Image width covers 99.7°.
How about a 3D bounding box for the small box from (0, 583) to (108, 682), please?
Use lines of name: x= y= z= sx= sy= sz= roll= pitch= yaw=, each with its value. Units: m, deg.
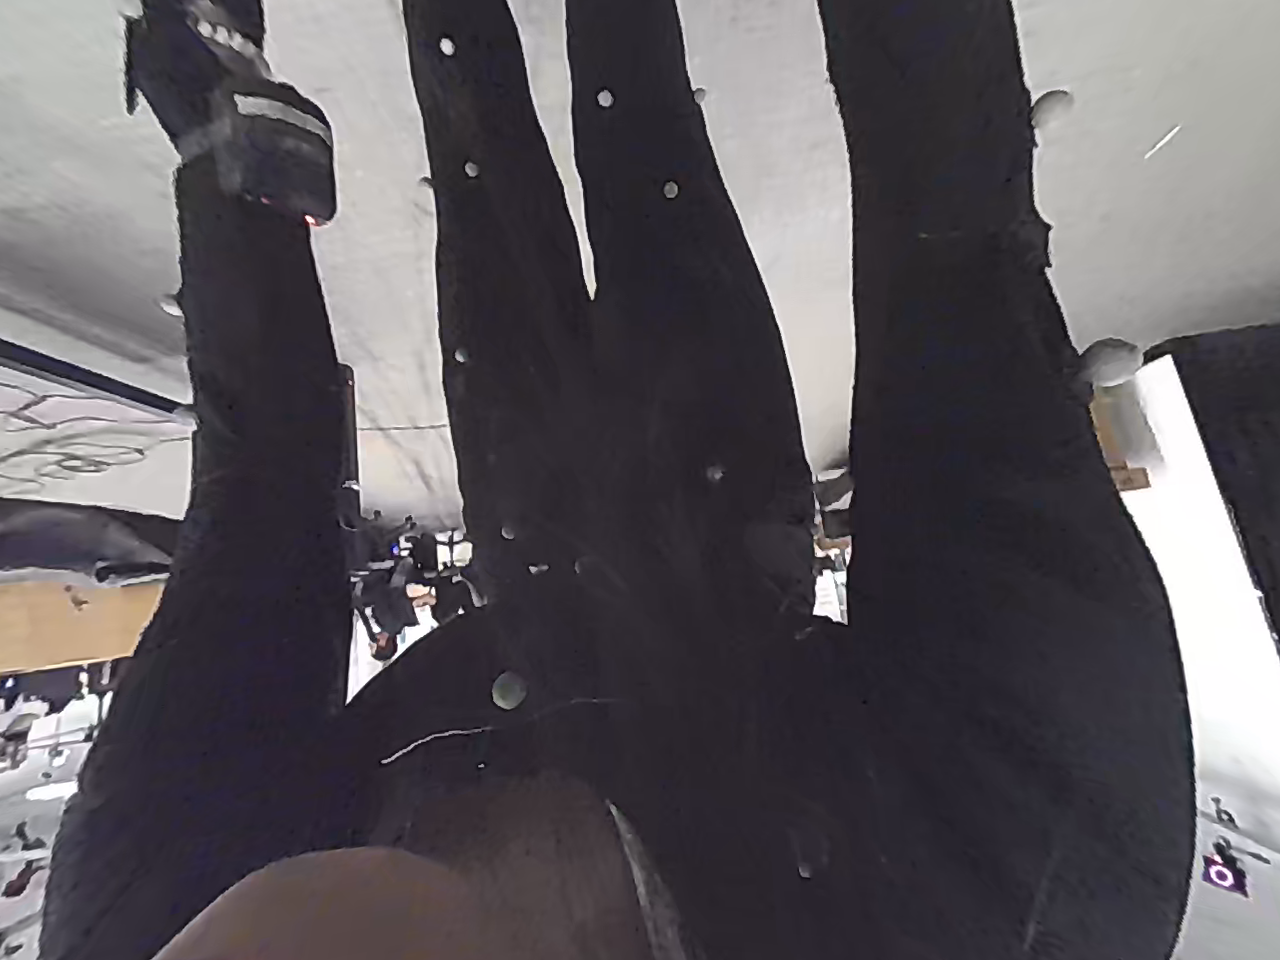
small box: x=-1.193 y=0.298 z=1.052 sx=0.179 sy=0.176 sz=0.168 roll=-8 pitch=169 yaw=0
